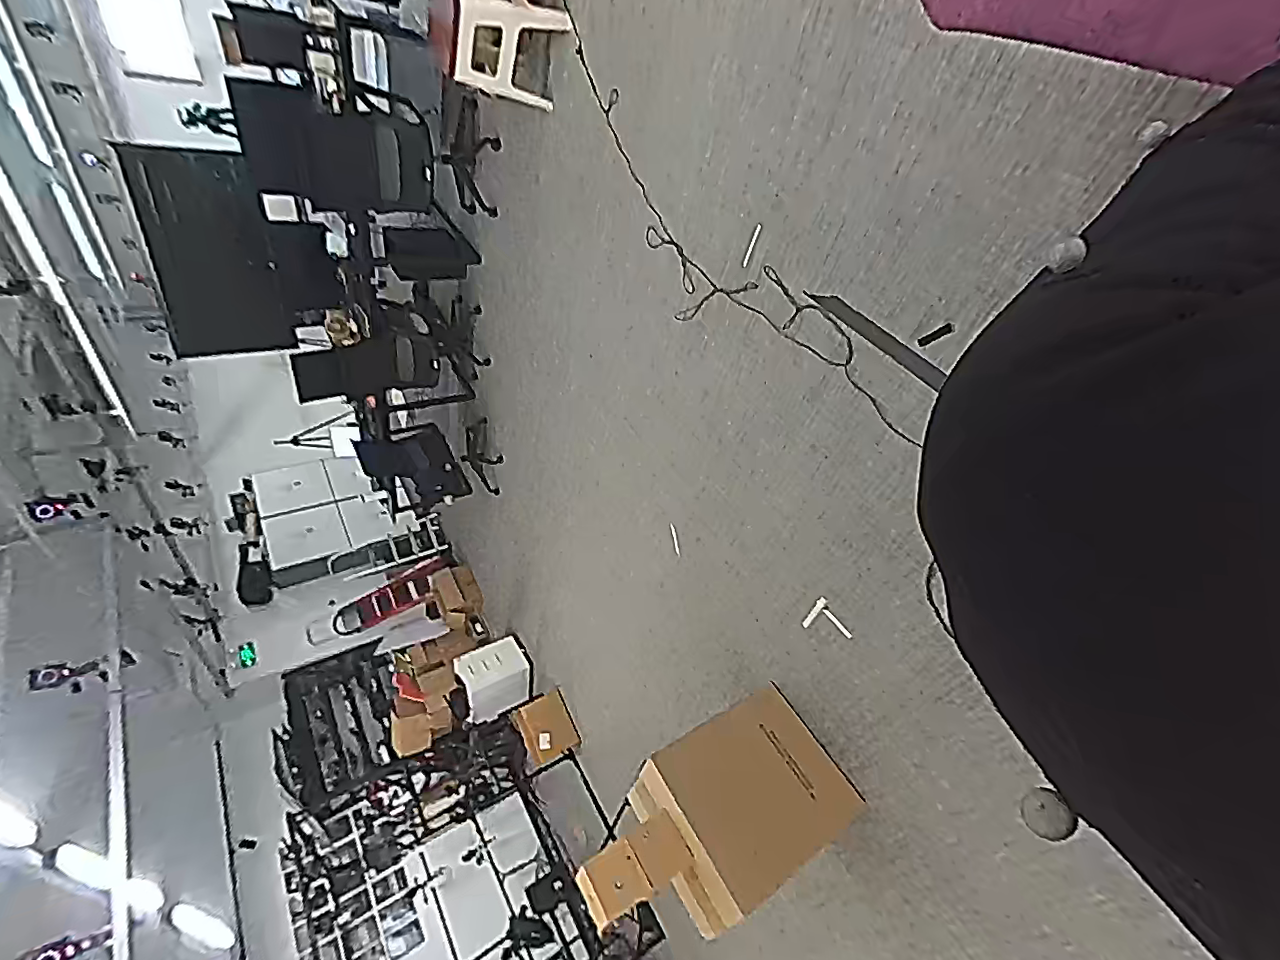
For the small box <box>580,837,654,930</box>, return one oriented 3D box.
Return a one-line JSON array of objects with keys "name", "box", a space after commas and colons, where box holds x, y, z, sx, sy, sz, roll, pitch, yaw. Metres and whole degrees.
[{"name": "small box", "box": [-0.074, 1.301, 1.752, 0.168, 0.176, 0.179, 49, 142, 34]}]
